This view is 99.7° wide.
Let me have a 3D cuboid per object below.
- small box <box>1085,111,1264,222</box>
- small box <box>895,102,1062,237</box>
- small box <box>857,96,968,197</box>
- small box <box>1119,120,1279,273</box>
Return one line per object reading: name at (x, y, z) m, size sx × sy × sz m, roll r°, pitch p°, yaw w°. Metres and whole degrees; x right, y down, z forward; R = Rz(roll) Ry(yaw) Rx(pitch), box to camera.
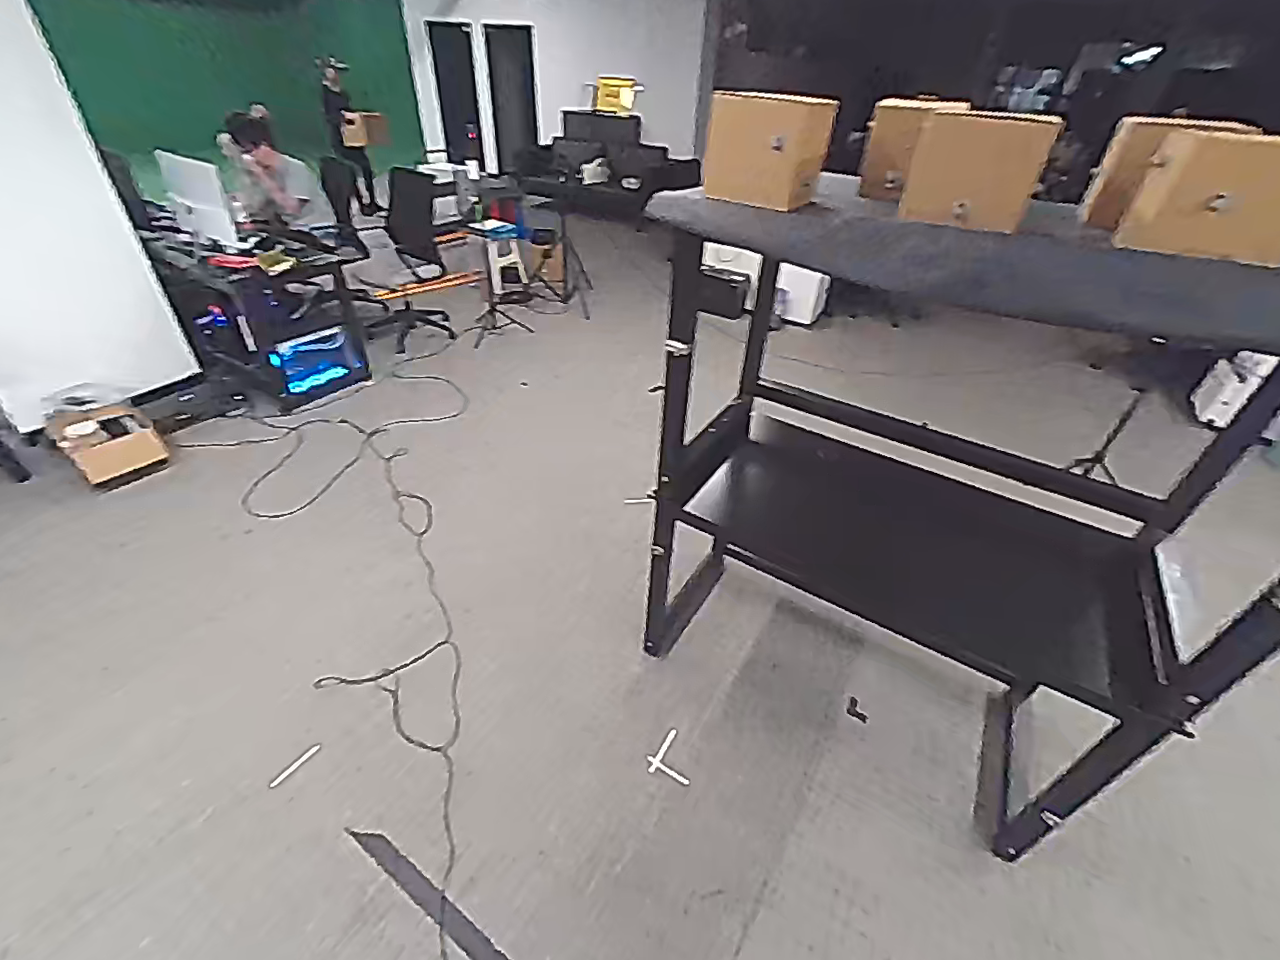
small box at (0.954, -0.568, 0.990) m, size 0.179 × 0.176 × 0.168 m, roll 23°, pitch 42°, yaw 24°
small box at (0.549, -0.508, 0.886) m, size 0.179 × 0.176 × 0.168 m, roll 23°, pitch 40°, yaw 23°
small box at (0.576, -0.708, 1.150) m, size 0.168 × 0.176 × 0.179 m, roll 17°, pitch 40°, yaw 19°
small box at (0.839, -0.410, 0.778) m, size 0.168 × 0.176 × 0.179 m, roll 21°, pitch 40°, yaw 22°
